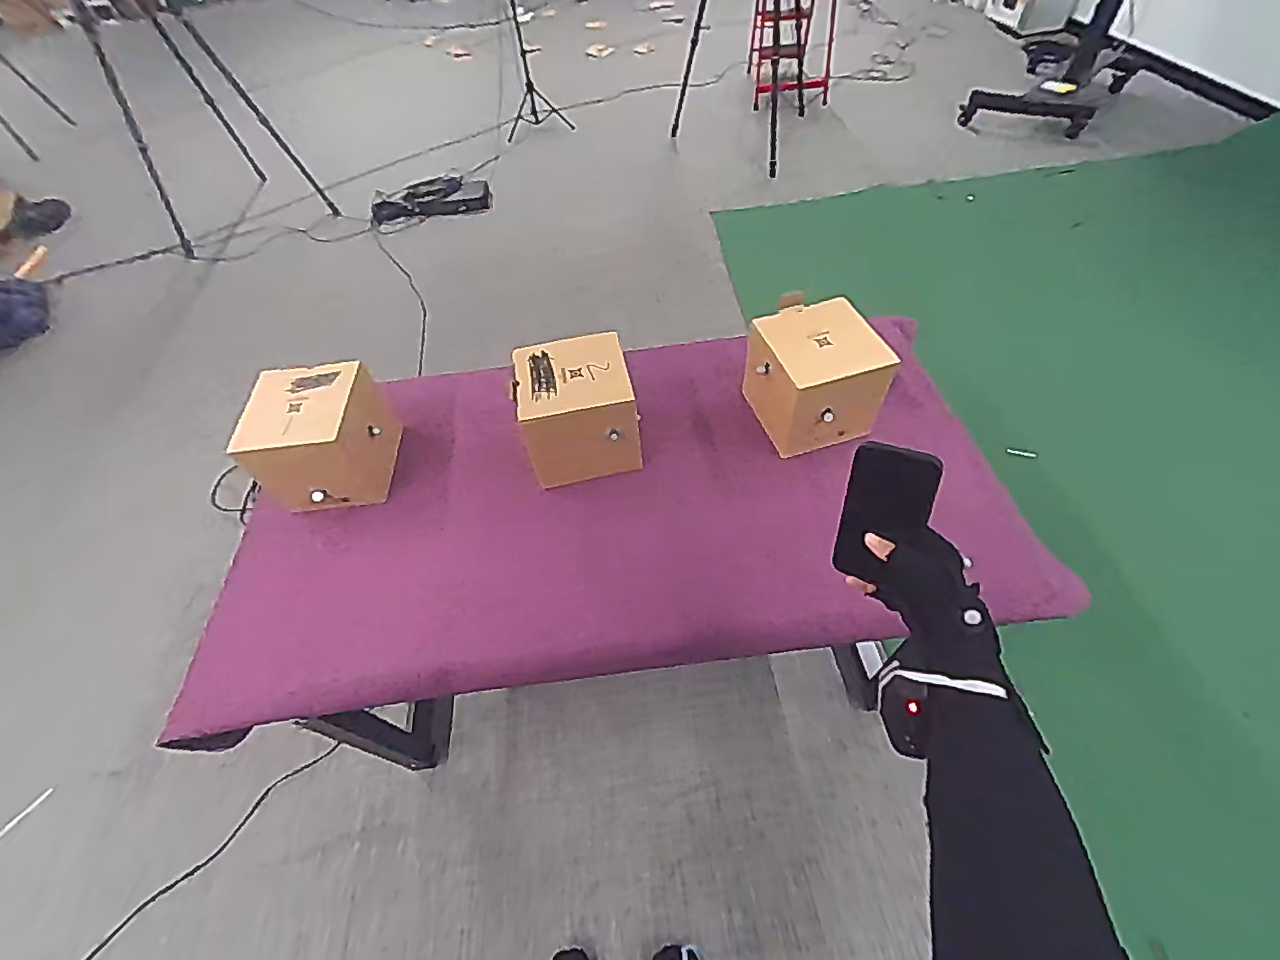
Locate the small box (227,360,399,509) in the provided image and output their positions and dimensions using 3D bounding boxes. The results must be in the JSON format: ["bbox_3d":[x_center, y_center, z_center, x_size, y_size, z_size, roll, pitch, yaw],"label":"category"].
[{"bbox_3d":[-0.522,-0.073,0.897,0.168,0.176,0.179,-6,55,0],"label":"small box"}]

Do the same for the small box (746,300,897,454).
[{"bbox_3d":[0.287,-0.162,0.898,0.168,0.176,0.179,-15,53,-6],"label":"small box"}]
